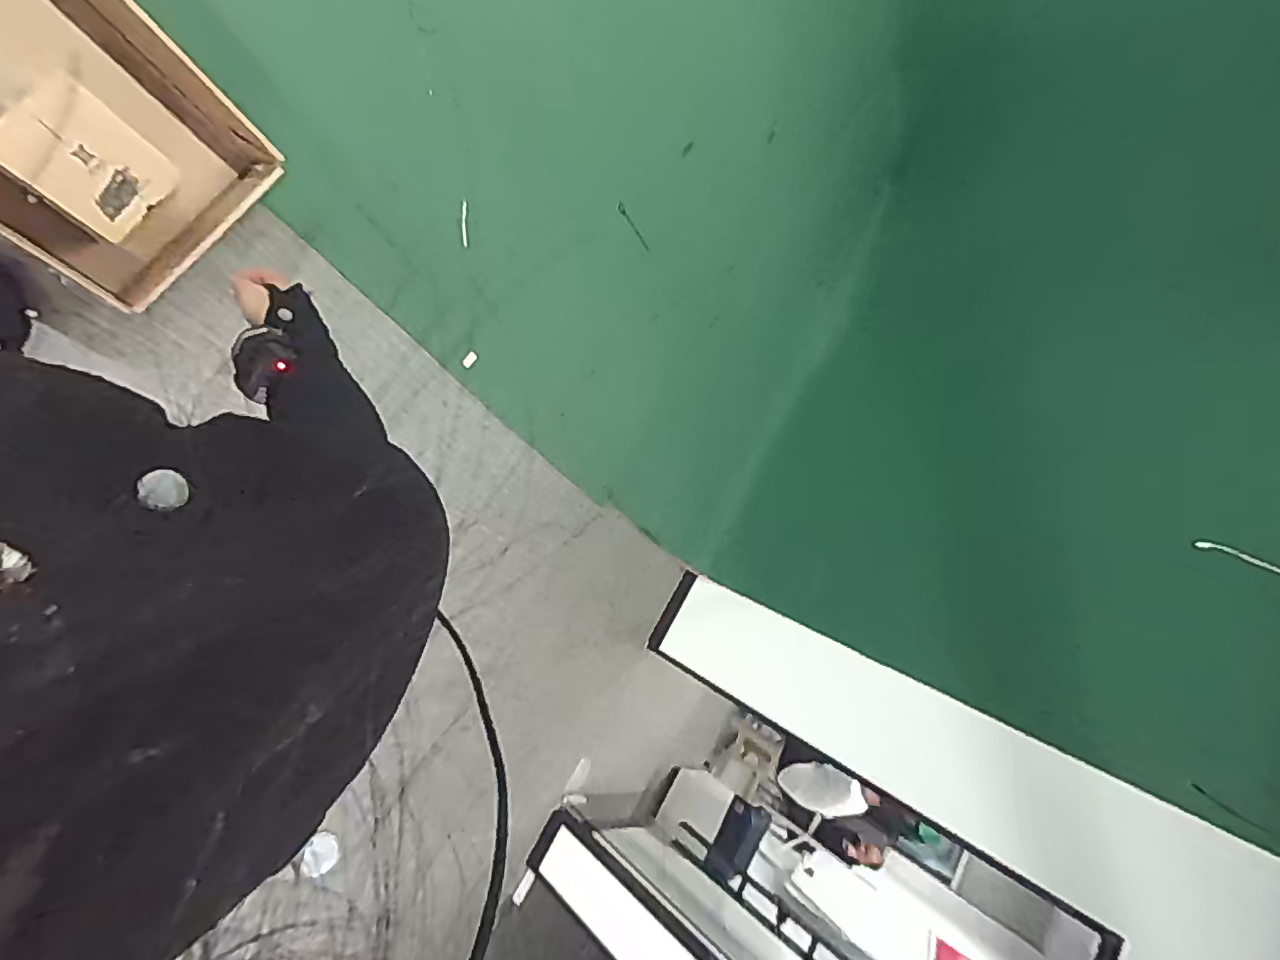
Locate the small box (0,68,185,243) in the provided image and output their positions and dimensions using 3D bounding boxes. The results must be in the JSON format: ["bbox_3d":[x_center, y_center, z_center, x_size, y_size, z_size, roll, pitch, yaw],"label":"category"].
[{"bbox_3d":[-0.897,-0.513,0.868,0.168,0.176,0.179,-57,142,-13],"label":"small box"}]
